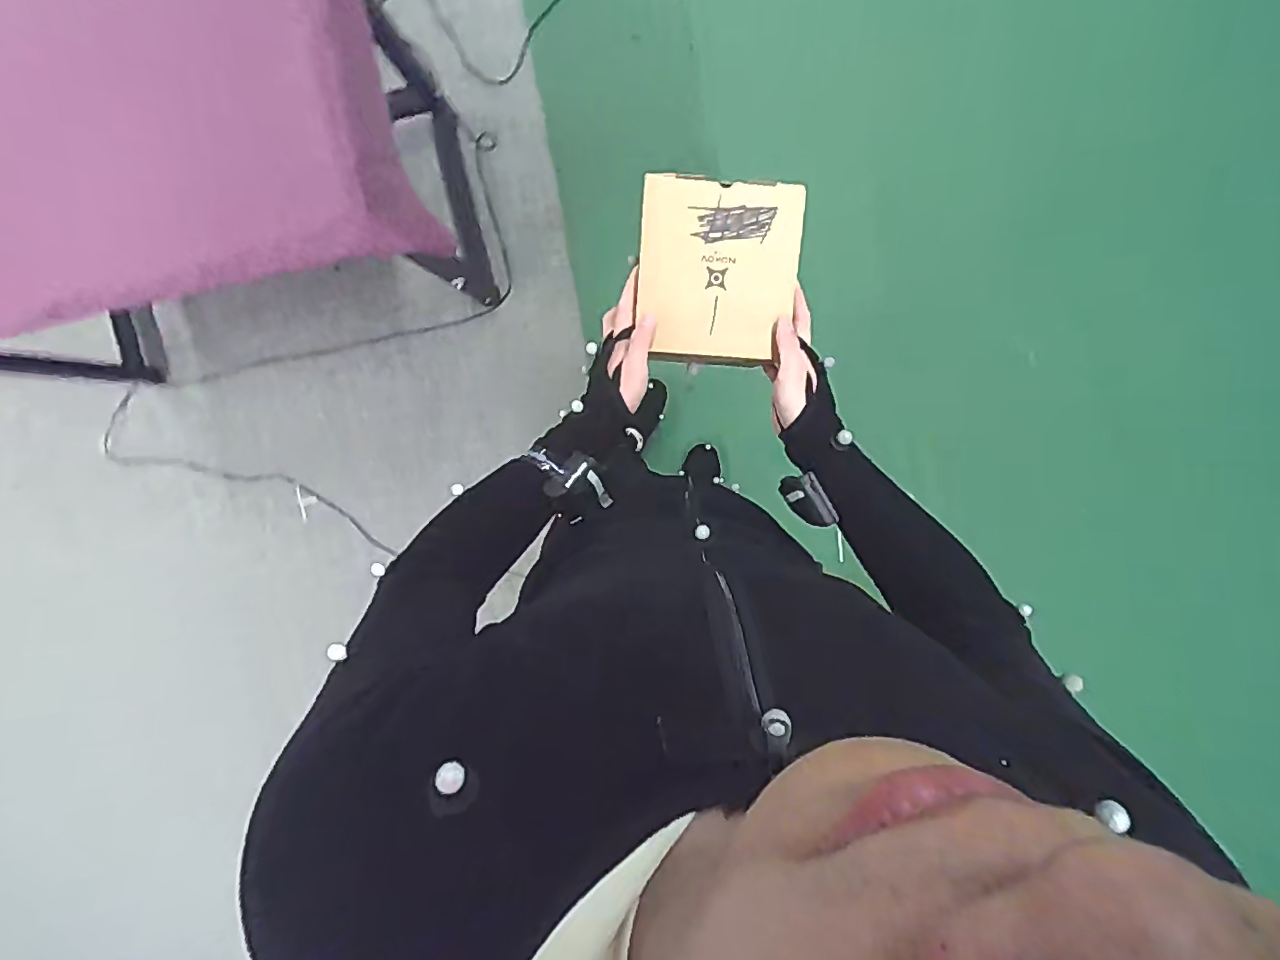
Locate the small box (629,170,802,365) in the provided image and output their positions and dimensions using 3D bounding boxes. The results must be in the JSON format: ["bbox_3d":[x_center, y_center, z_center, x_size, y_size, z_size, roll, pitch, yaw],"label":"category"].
[{"bbox_3d":[0.075,-0.231,0.630,0.168,0.176,0.179,4,101,-1],"label":"small box"}]
